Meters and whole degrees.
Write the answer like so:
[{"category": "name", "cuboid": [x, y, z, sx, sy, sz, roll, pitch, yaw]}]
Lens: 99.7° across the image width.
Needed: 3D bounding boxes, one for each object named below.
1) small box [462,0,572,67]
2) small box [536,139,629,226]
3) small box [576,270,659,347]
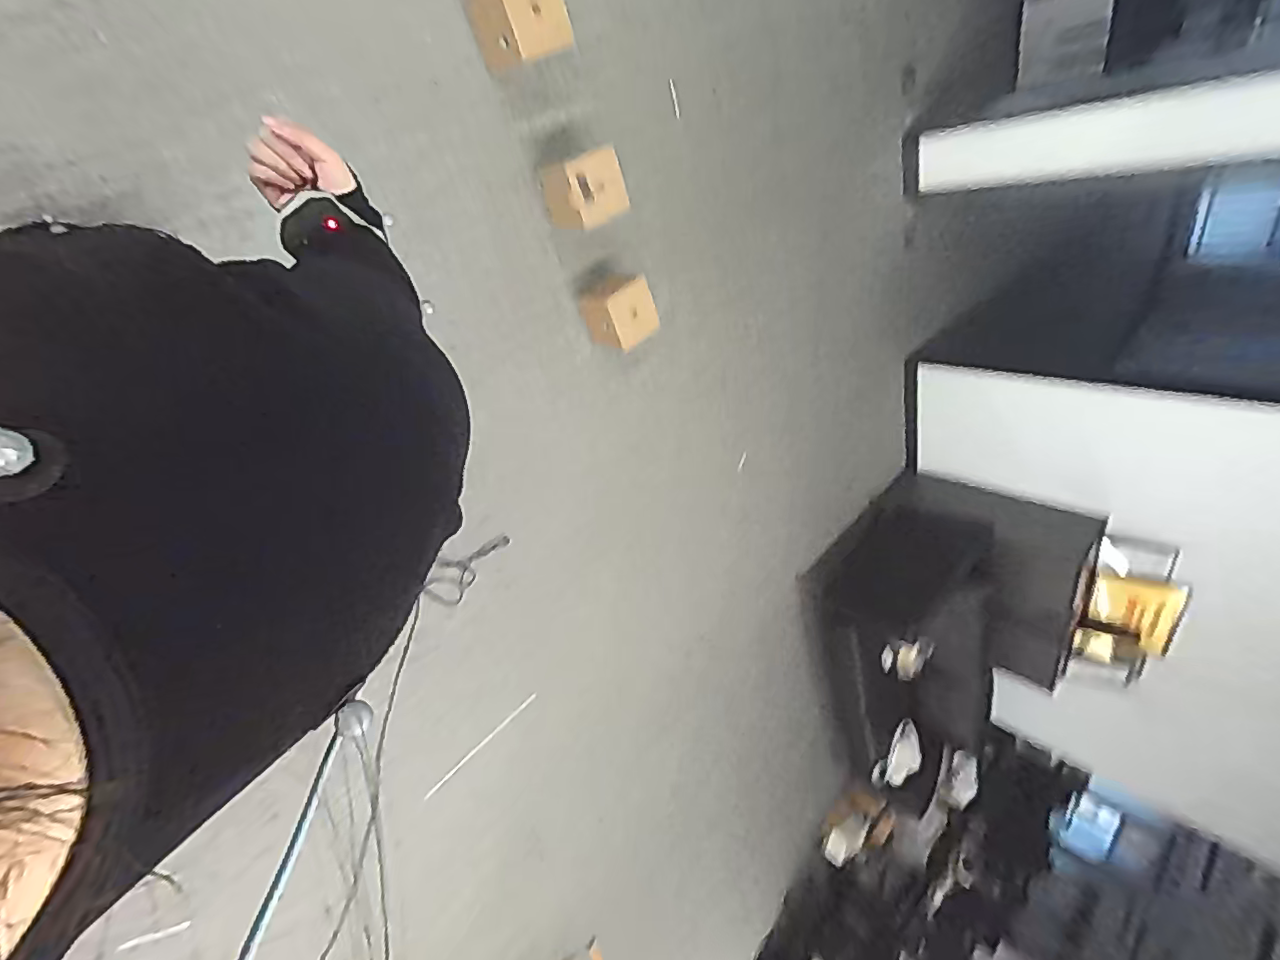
[{"category": "small box", "cuboid": [-0.296, -1.109, 1.279, 0.168, 0.176, 0.179, -40, 130, -24]}, {"category": "small box", "cuboid": [-0.167, -0.824, 1.510, 0.179, 0.176, 0.168, -39, 129, -25]}, {"category": "small box", "cuboid": [-0.075, -0.545, 1.707, 0.168, 0.176, 0.179, -41, 130, -22]}]
